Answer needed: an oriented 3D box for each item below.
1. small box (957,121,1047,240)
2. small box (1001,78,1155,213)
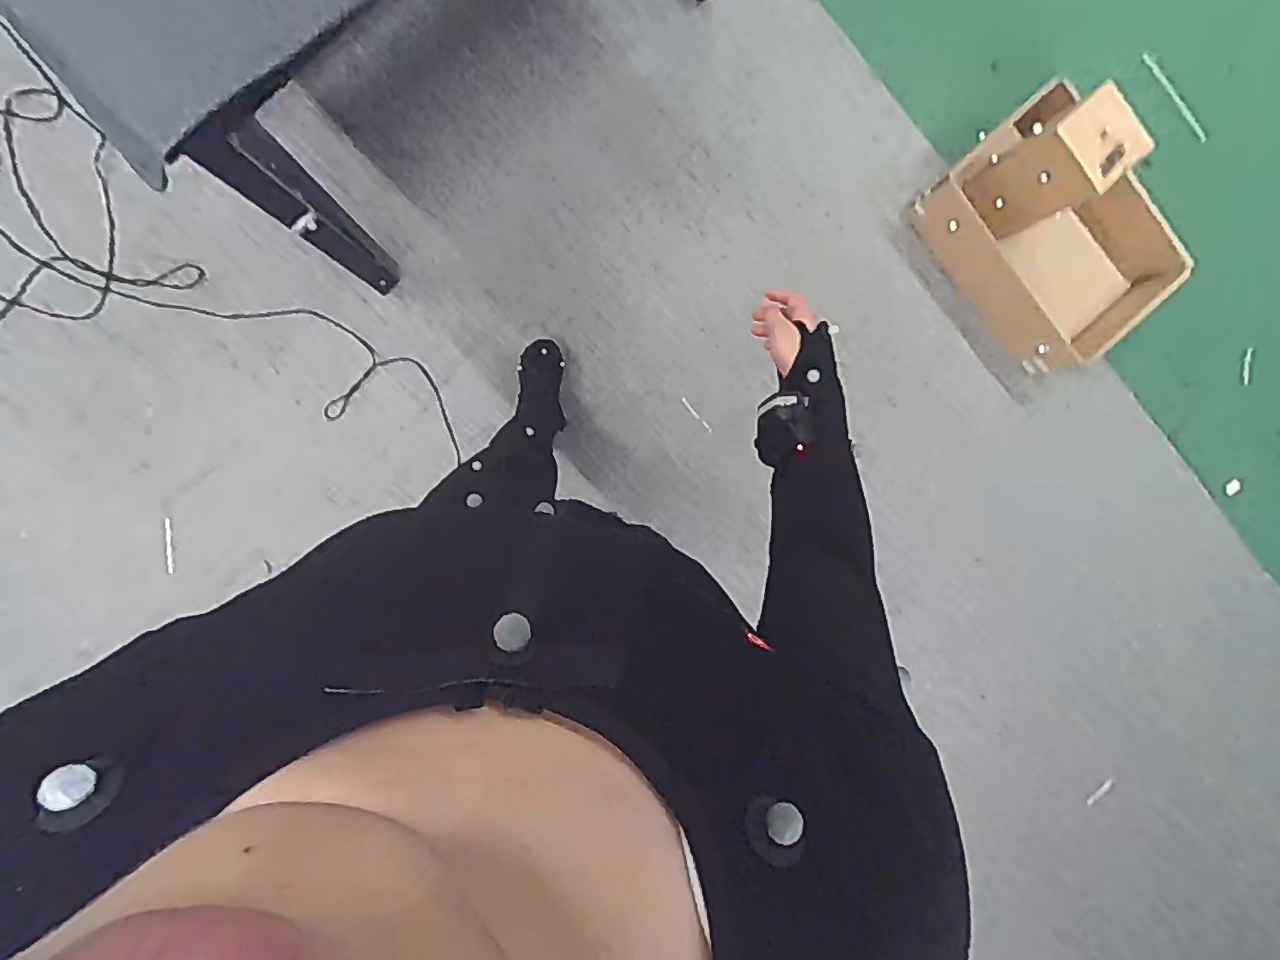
[{"bbox_3d":[0.964,-0.754,1.384,0.168,0.176,0.179,-42,99,0],"label":"small box"},{"bbox_3d":[0.979,-0.736,1.221,0.168,0.176,0.179,-41,97,-1],"label":"small box"}]
